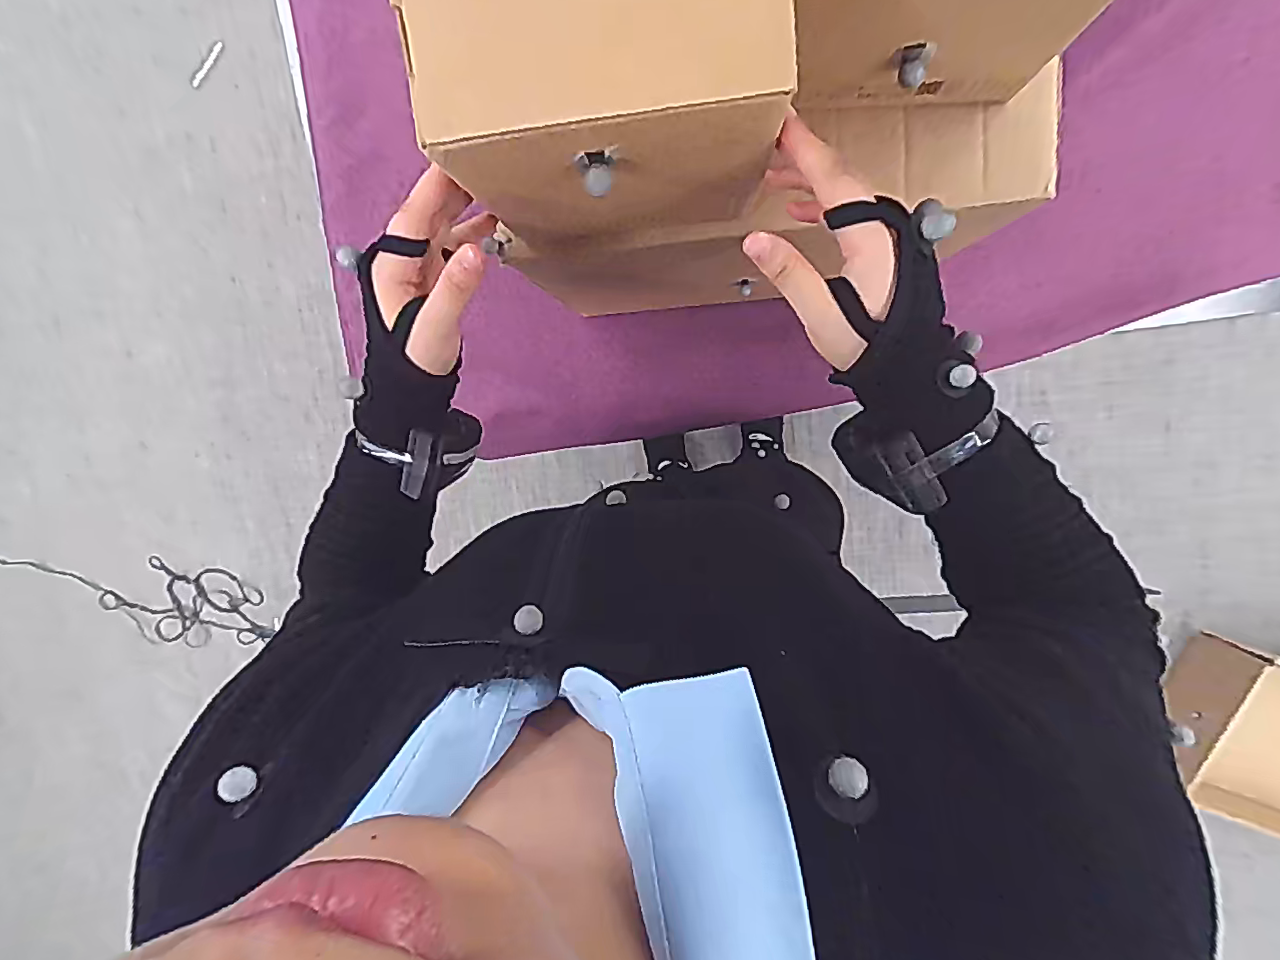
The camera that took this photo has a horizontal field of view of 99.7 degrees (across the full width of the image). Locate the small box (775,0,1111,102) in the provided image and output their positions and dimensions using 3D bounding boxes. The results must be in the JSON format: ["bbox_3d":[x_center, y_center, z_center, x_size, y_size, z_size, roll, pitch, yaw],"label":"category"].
[{"bbox_3d":[0.163,-0.331,0.272,0.168,0.176,0.179,2,98,7],"label":"small box"}]

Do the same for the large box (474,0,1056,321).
[{"bbox_3d":[0.095,-0.353,0.526,0.408,0.320,0.320,-5,97,8],"label":"large box"}]
